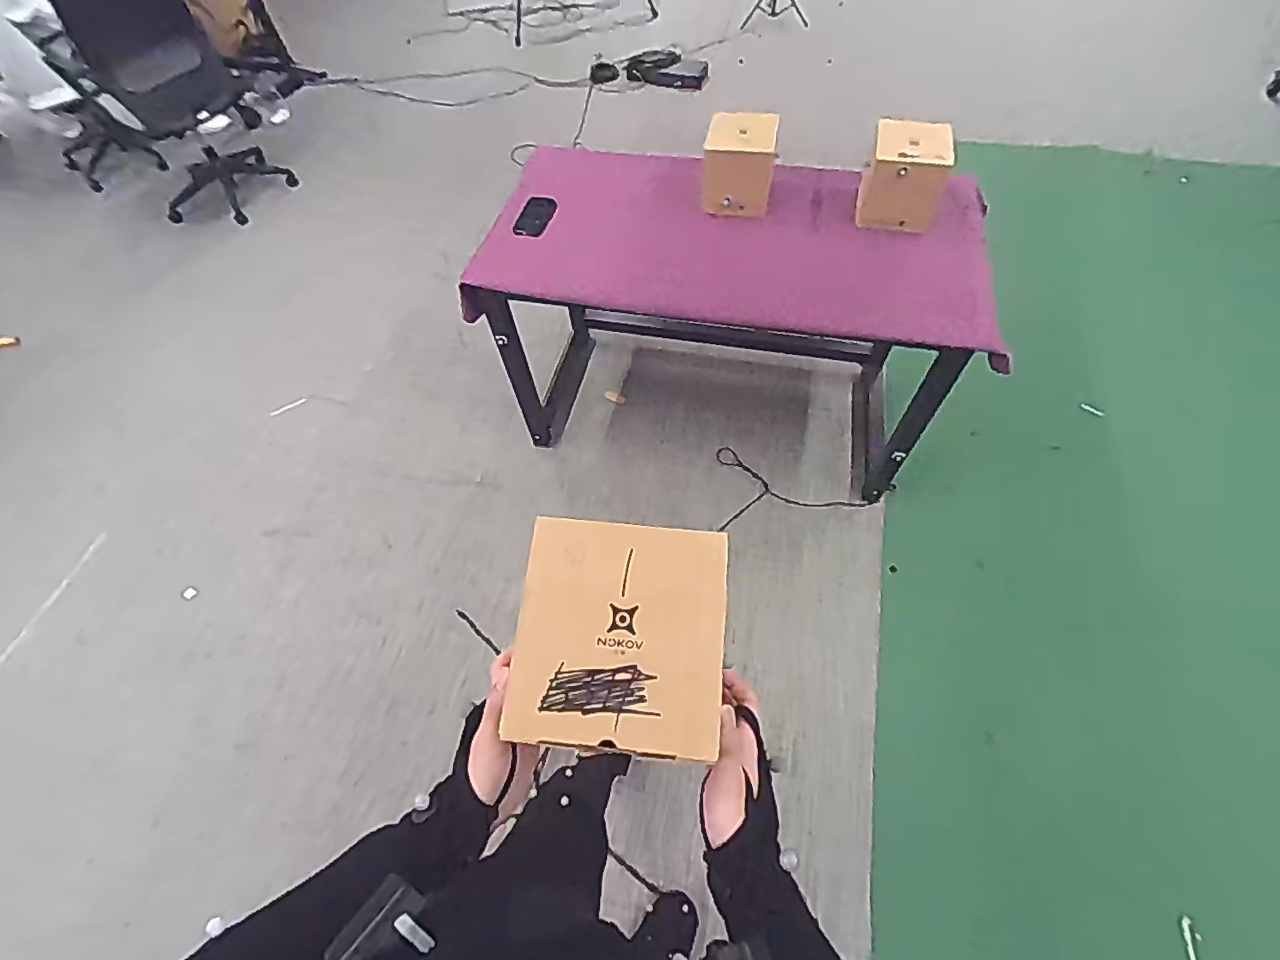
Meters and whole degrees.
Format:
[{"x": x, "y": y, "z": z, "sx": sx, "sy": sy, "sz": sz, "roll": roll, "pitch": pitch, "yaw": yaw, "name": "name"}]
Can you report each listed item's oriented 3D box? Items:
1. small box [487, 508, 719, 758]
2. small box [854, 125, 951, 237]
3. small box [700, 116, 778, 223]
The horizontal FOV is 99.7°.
[{"x": -0.021, "y": 0.140, "z": 0.495, "sx": 0.168, "sy": 0.176, "sz": 0.179, "roll": 5, "pitch": 68, "yaw": 4, "name": "small box"}, {"x": 0.622, "y": -0.717, "z": 1.298, "sx": 0.168, "sy": 0.176, "sz": 0.179, "roll": 10, "pitch": 59, "yaw": 11, "name": "small box"}, {"x": 0.245, "y": -0.783, "z": 1.364, "sx": 0.168, "sy": 0.176, "sz": 0.179, "roll": 9, "pitch": 60, "yaw": 10, "name": "small box"}]
